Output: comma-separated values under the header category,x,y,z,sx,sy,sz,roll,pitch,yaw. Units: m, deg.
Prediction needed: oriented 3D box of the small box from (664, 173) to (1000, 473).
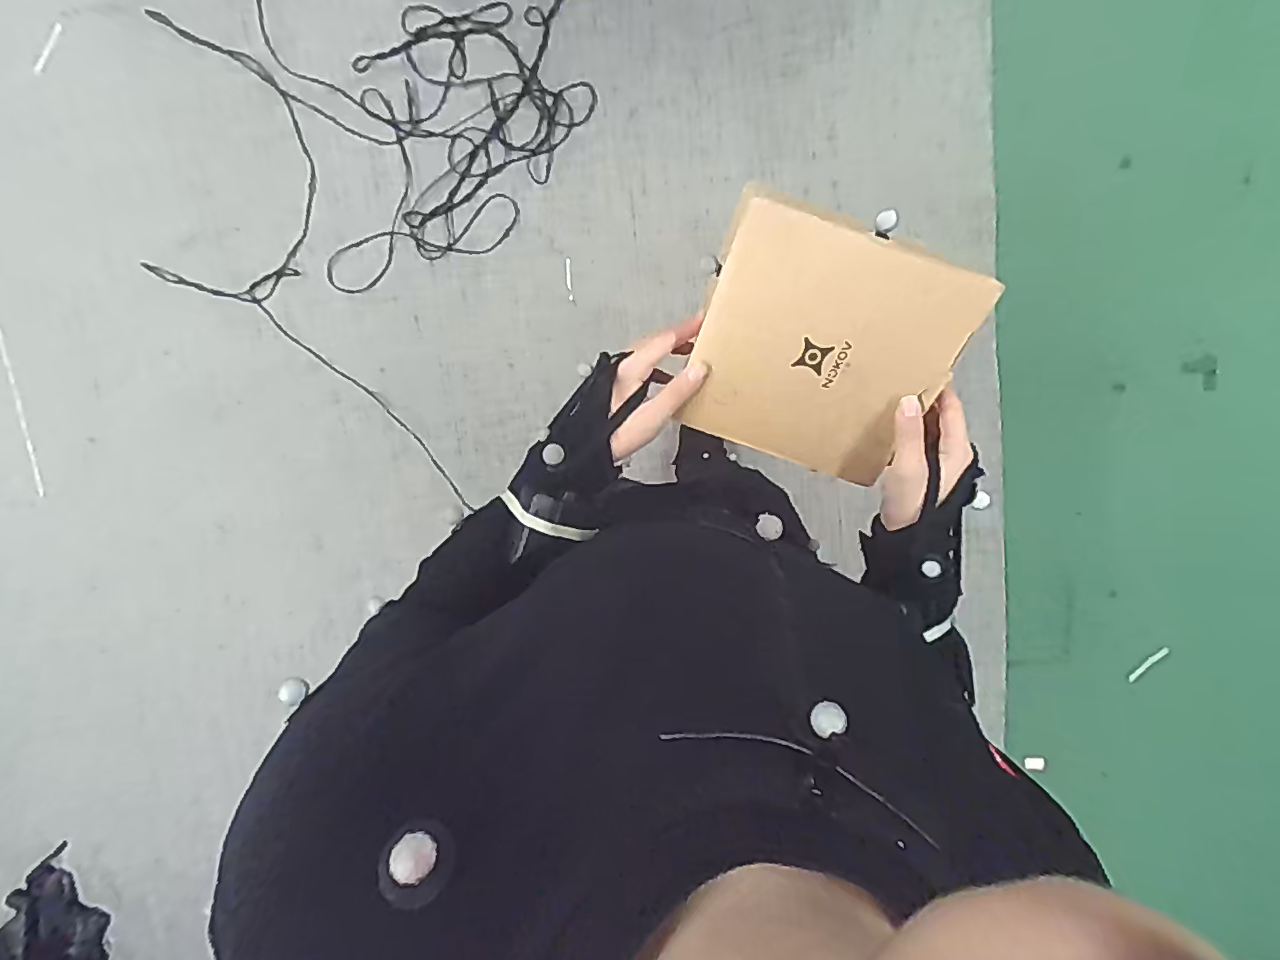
category,x,y,z,sx,sy,sz,roll,pitch,yaw
small box,0.134,-0.136,0.445,0.179,0.176,0.168,18,122,-2
